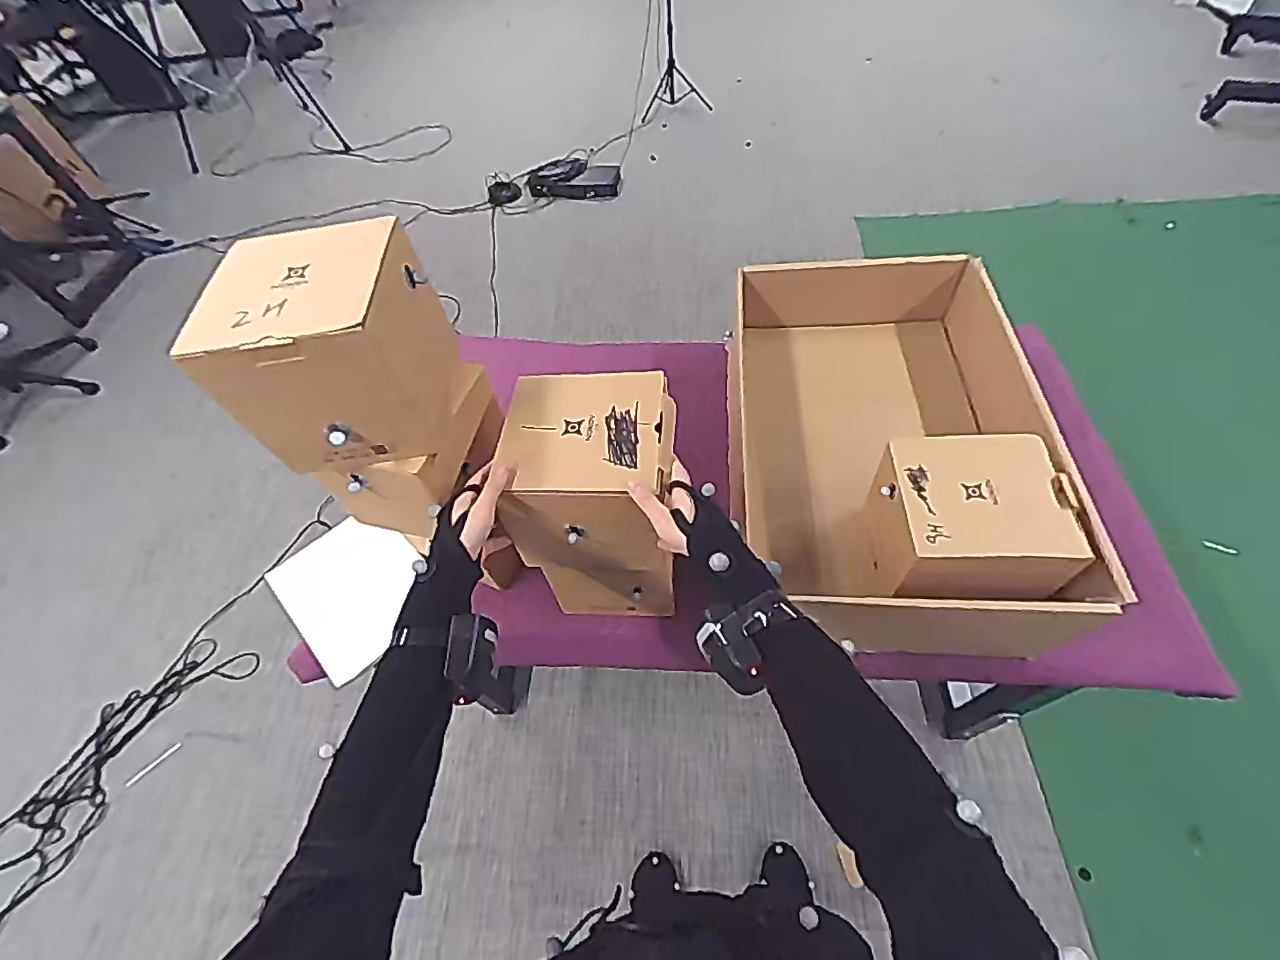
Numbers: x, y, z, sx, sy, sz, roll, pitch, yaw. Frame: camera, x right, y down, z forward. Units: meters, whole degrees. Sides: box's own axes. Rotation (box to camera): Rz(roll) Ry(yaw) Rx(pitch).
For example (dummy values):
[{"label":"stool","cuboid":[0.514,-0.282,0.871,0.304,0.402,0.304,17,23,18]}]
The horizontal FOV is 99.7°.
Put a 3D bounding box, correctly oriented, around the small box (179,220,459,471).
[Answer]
[{"label":"small box","cuboid":[-0.300,-0.134,0.557,0.168,0.176,0.179,-8,55,2]}]
